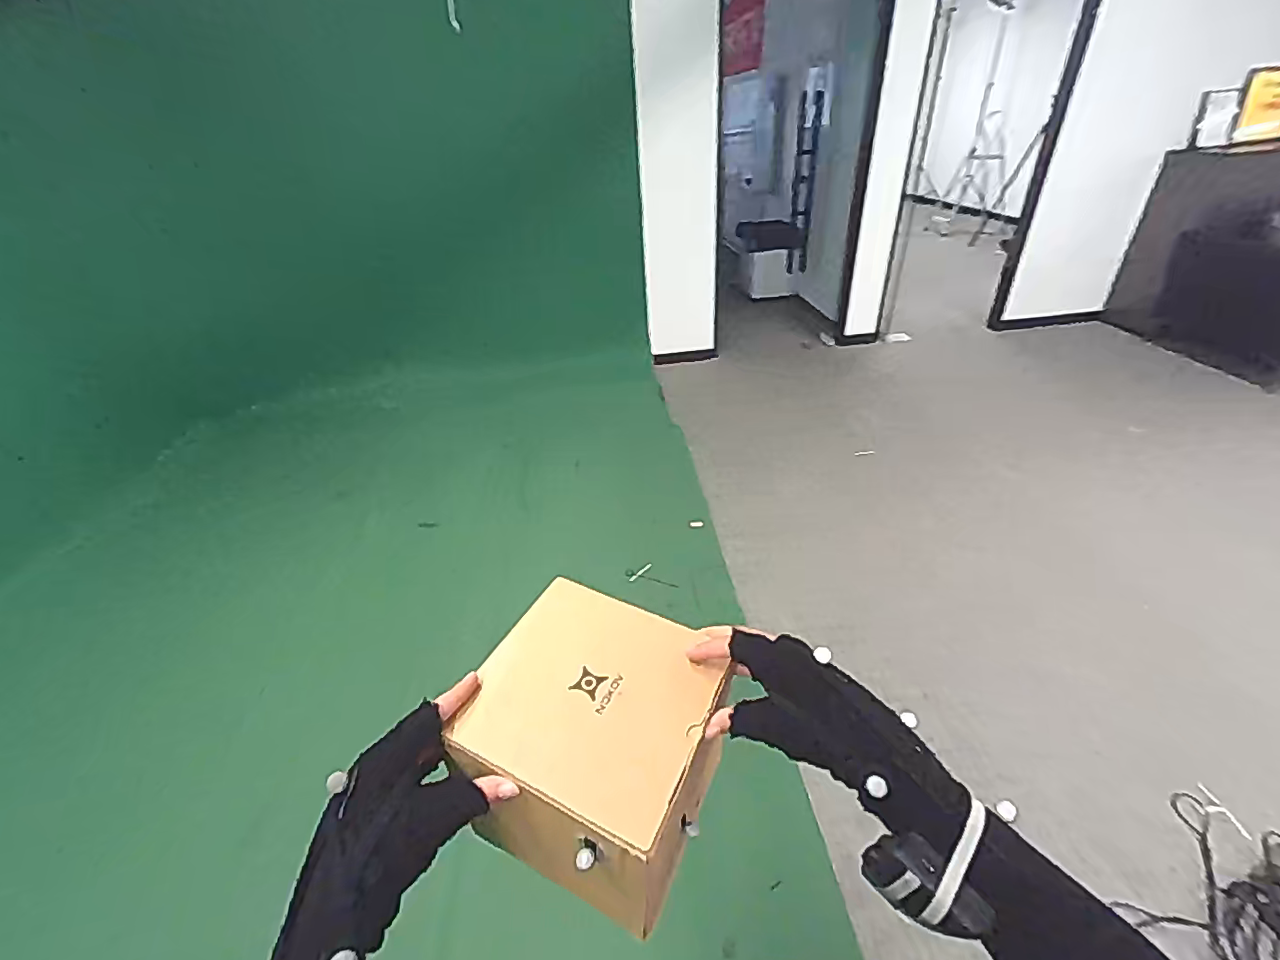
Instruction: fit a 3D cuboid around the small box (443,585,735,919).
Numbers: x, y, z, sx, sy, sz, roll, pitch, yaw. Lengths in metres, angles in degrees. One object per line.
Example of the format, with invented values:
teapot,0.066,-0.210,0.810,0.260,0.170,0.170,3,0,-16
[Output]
small box,-0.035,0.227,0.467,0.179,0.176,0.168,17,39,21
